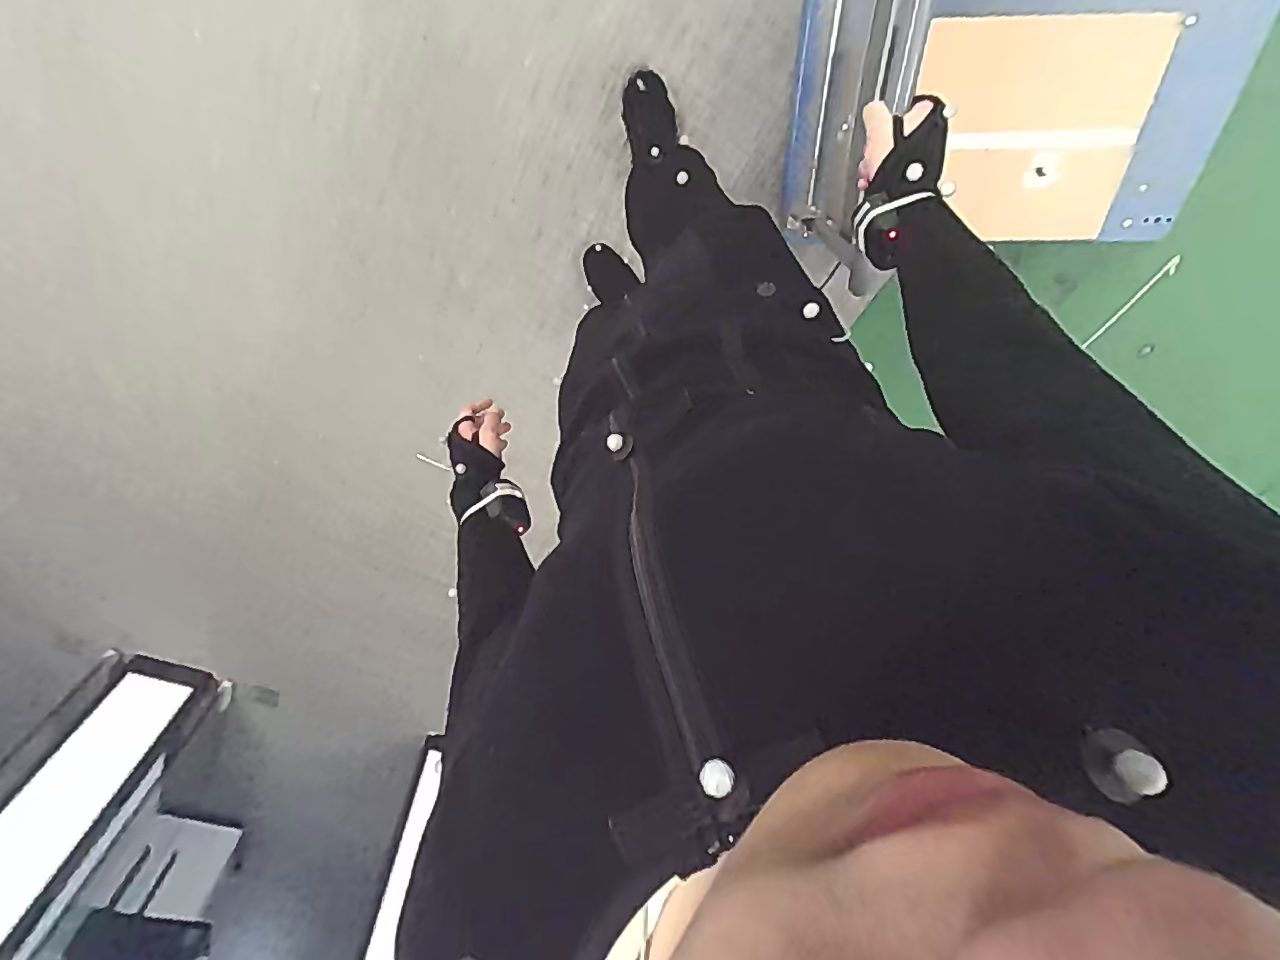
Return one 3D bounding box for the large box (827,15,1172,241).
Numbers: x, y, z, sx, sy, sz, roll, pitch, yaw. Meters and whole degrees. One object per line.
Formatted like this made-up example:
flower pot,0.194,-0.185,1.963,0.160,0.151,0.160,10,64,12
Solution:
large box,0.612,-0.646,1.026,0.408,0.320,0.320,1,123,2
